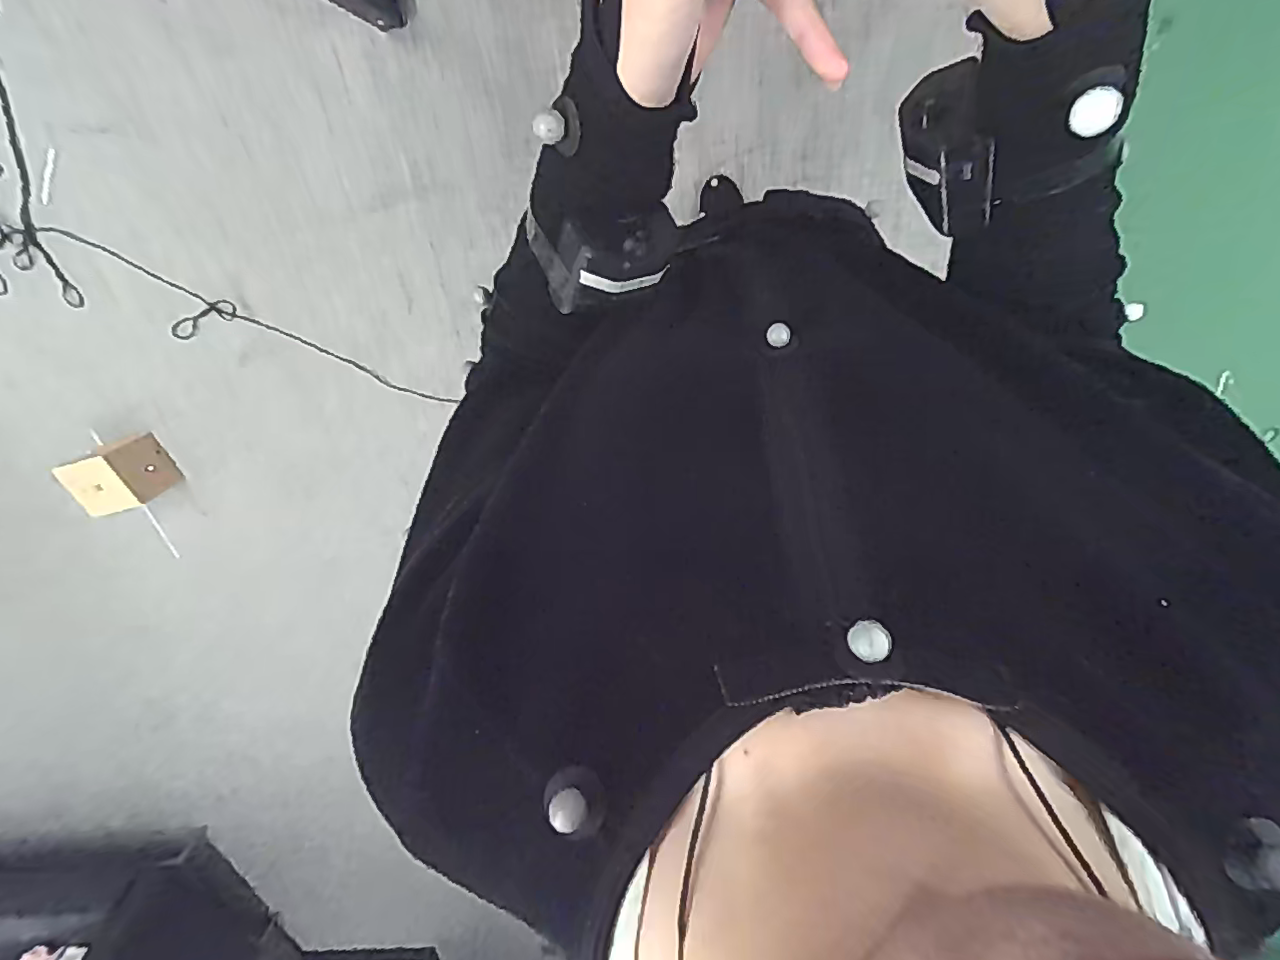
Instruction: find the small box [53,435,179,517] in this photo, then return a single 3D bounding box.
[{"bbox_3d":[-1.515,-0.017,1.584,0.179,0.176,0.168,-12,117,9],"label":"small box"}]
